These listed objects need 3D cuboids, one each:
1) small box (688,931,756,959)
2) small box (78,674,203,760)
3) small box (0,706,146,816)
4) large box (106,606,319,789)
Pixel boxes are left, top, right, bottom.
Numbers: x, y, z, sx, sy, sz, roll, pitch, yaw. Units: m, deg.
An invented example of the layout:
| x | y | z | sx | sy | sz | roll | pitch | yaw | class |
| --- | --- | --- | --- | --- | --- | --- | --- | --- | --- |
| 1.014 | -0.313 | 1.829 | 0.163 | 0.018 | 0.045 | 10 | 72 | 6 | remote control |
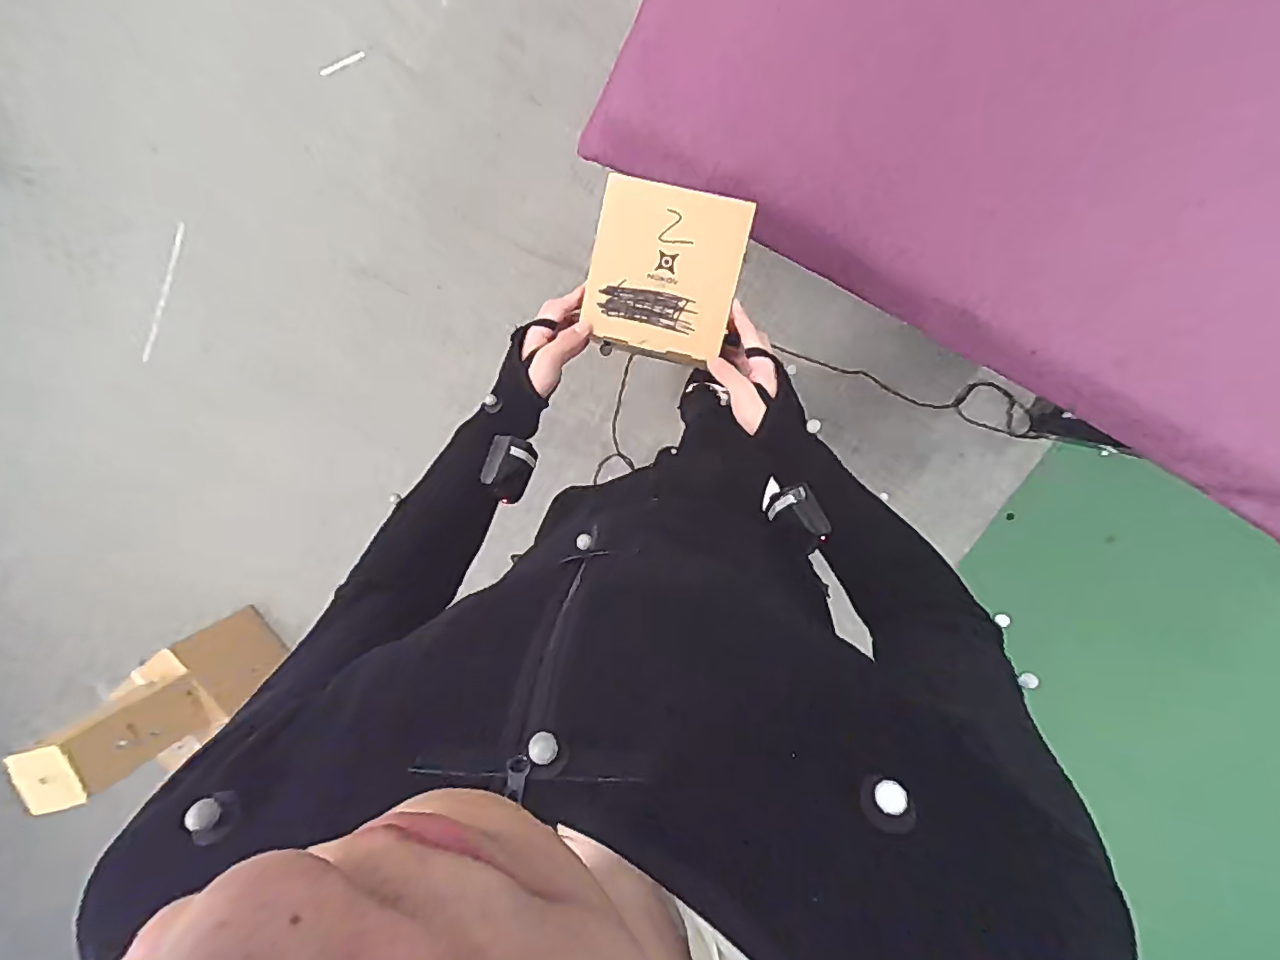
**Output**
| x | y | z | sx | sy | sz | roll | pitch | yaw | class |
| --- | --- | --- | --- | --- | --- | --- | --- | --- | --- |
| 0.231 | 1.371 | 1.466 | 0.168 | 0.176 | 0.179 | -20 | 98 | 12 | small box |
| -1.419 | 0.683 | 1.546 | 0.179 | 0.176 | 0.168 | -16 | 99 | 10 | small box |
| -1.440 | 0.712 | 1.383 | 0.179 | 0.176 | 0.168 | -17 | 99 | 8 | small box |
| -1.395 | 0.705 | 1.799 | 0.320 | 0.320 | 0.408 | -36 | 96 | 13 | large box |
